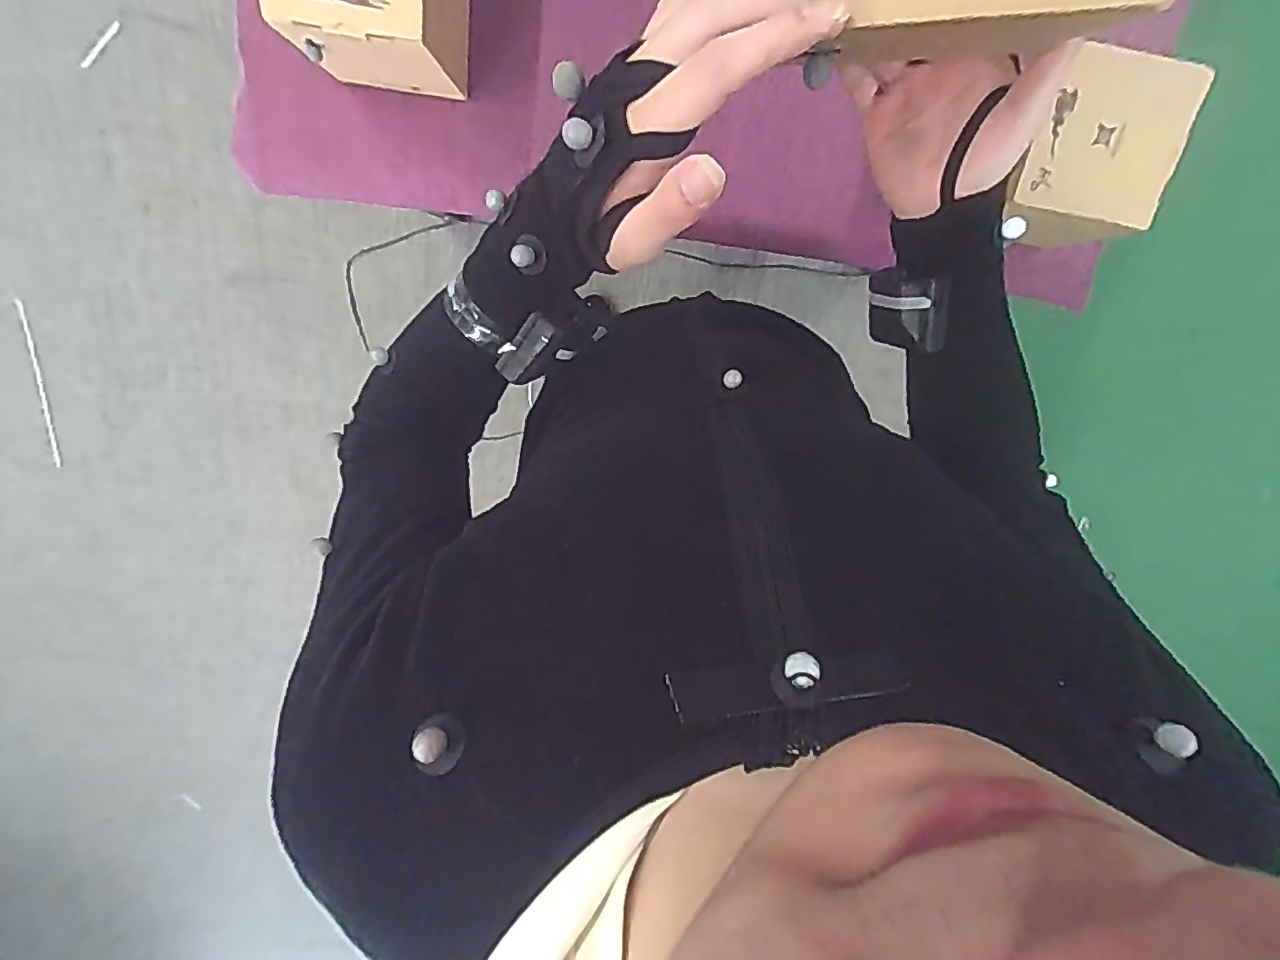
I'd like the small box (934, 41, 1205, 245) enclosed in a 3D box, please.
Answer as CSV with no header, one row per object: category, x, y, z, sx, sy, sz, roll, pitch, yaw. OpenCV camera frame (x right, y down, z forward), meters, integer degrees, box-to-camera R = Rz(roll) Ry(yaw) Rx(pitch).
small box,0.523,-0.406,0.688,0.179,0.176,0.168,10,106,-4

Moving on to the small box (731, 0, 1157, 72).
small box,0.135,-0.302,0.241,0.176,0.168,0.179,8,124,14
